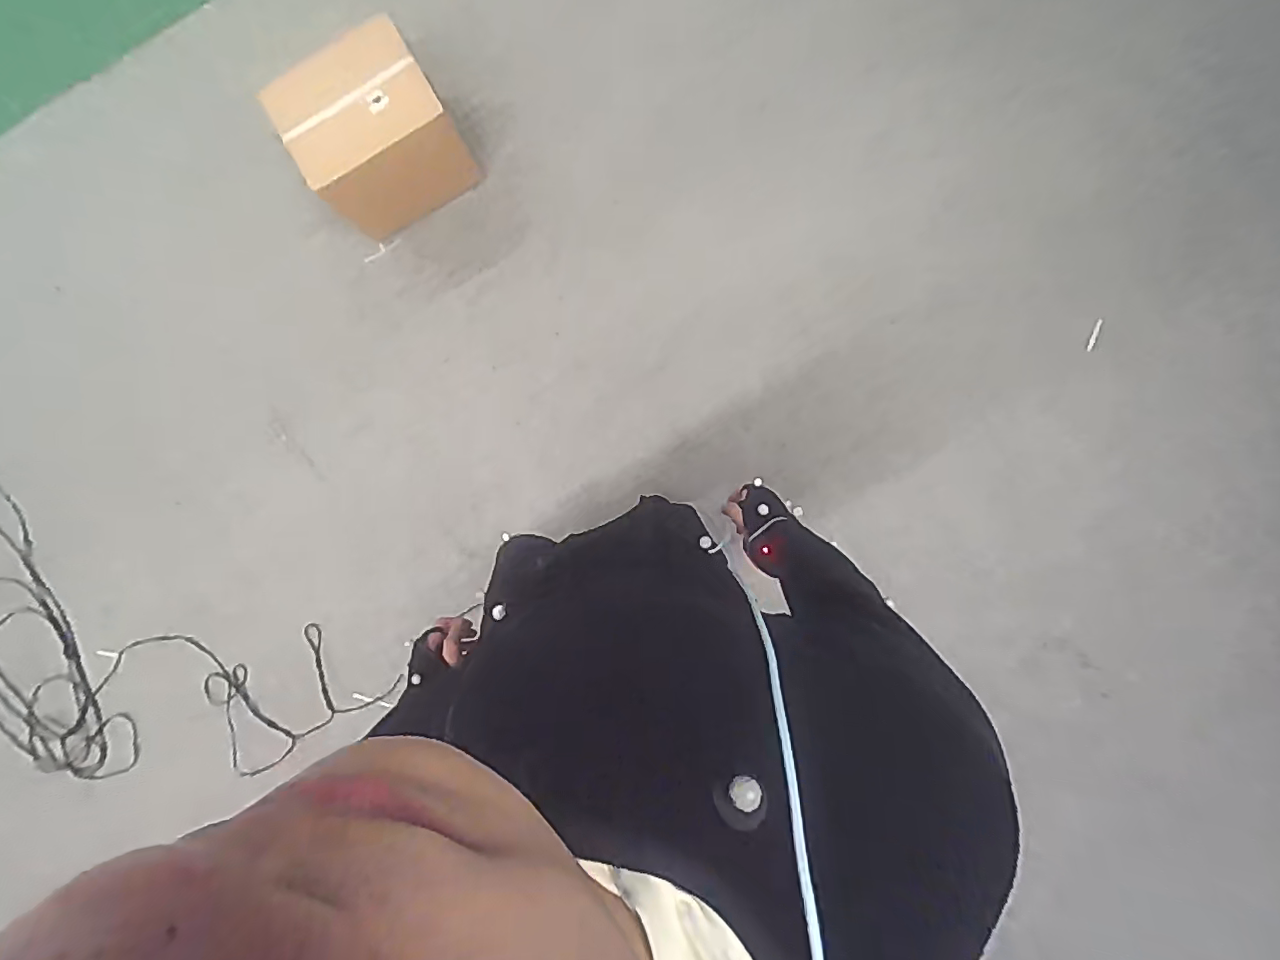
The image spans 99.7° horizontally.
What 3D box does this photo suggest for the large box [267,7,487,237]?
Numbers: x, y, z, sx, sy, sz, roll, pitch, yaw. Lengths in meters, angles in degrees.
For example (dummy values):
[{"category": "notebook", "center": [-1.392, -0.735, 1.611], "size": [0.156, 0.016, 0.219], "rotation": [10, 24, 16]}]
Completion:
[{"category": "large box", "center": [-0.723, -0.985, 1.539], "size": [0.408, 0.320, 0.320], "rotation": [-29, 88, 2]}]
